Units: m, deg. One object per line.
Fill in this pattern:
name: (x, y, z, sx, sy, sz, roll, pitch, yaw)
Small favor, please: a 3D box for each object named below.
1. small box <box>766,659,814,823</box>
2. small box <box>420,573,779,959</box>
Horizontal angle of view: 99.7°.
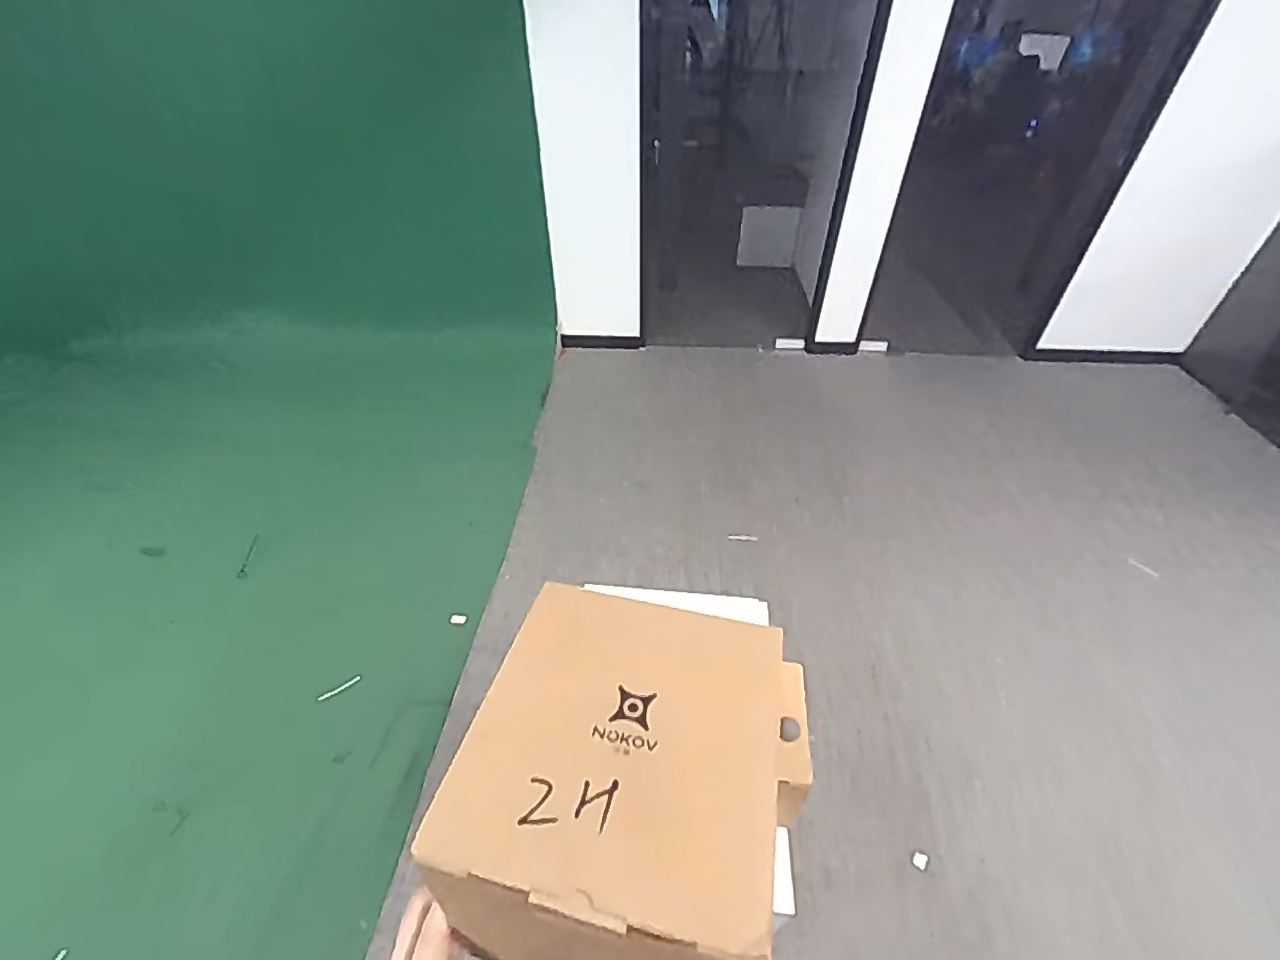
small box: (0.157, 0.387, 0.820, 0.168, 0.176, 0.179, 4, 43, 6)
small box: (-0.009, 0.193, 0.354, 0.168, 0.176, 0.179, 9, 38, 11)
